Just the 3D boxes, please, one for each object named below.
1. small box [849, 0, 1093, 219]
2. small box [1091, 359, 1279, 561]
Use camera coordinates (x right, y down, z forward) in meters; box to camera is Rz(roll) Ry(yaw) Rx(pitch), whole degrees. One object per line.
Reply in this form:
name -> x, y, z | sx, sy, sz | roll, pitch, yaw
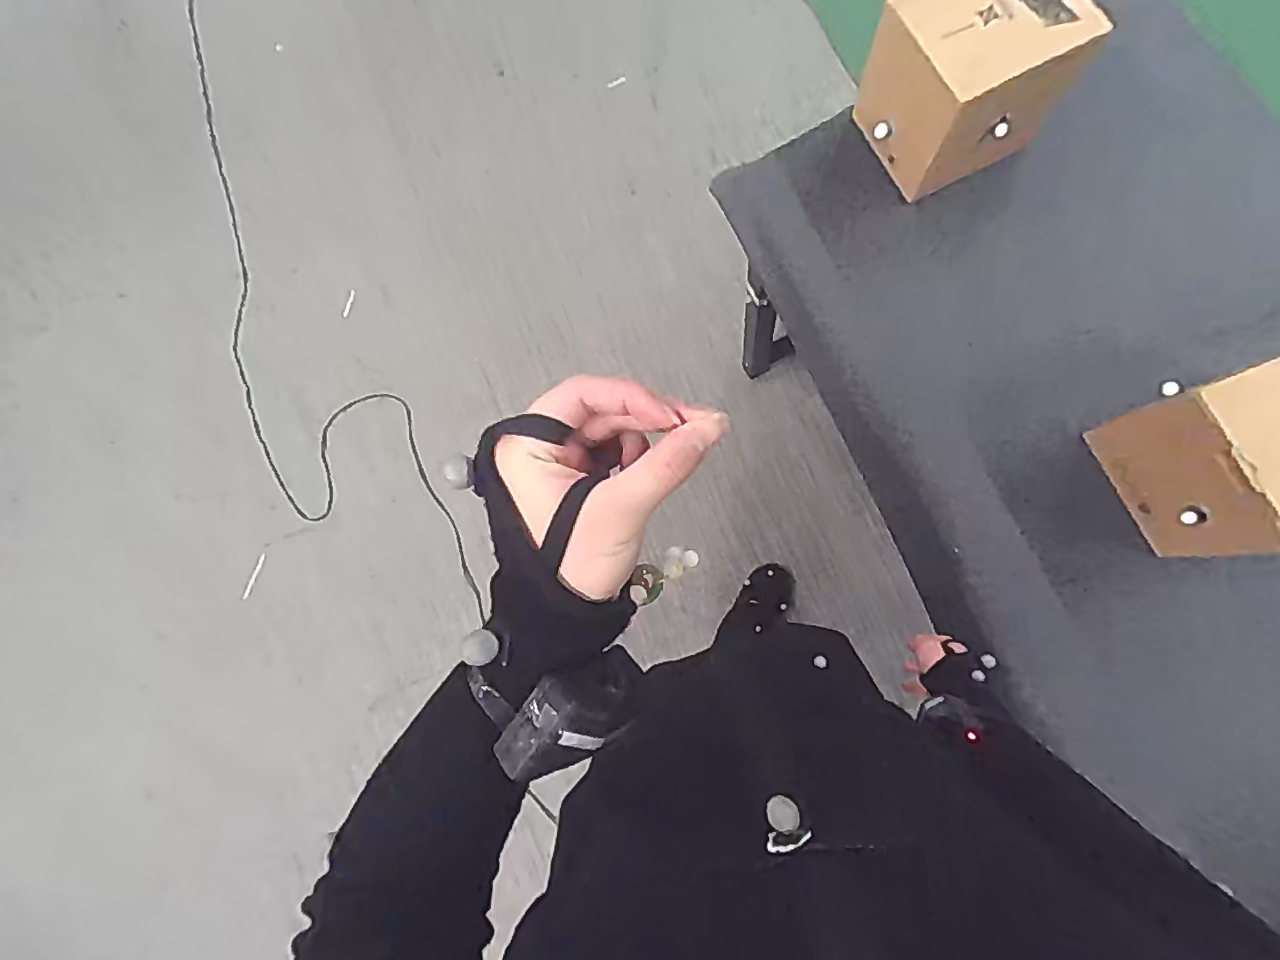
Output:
small box -> 0.398, -0.480, 0.689 | 0.179, 0.176, 0.168 | -26, 77, 4
small box -> 0.639, -0.019, 0.574 | 0.179, 0.176, 0.168 | -24, 79, 3
